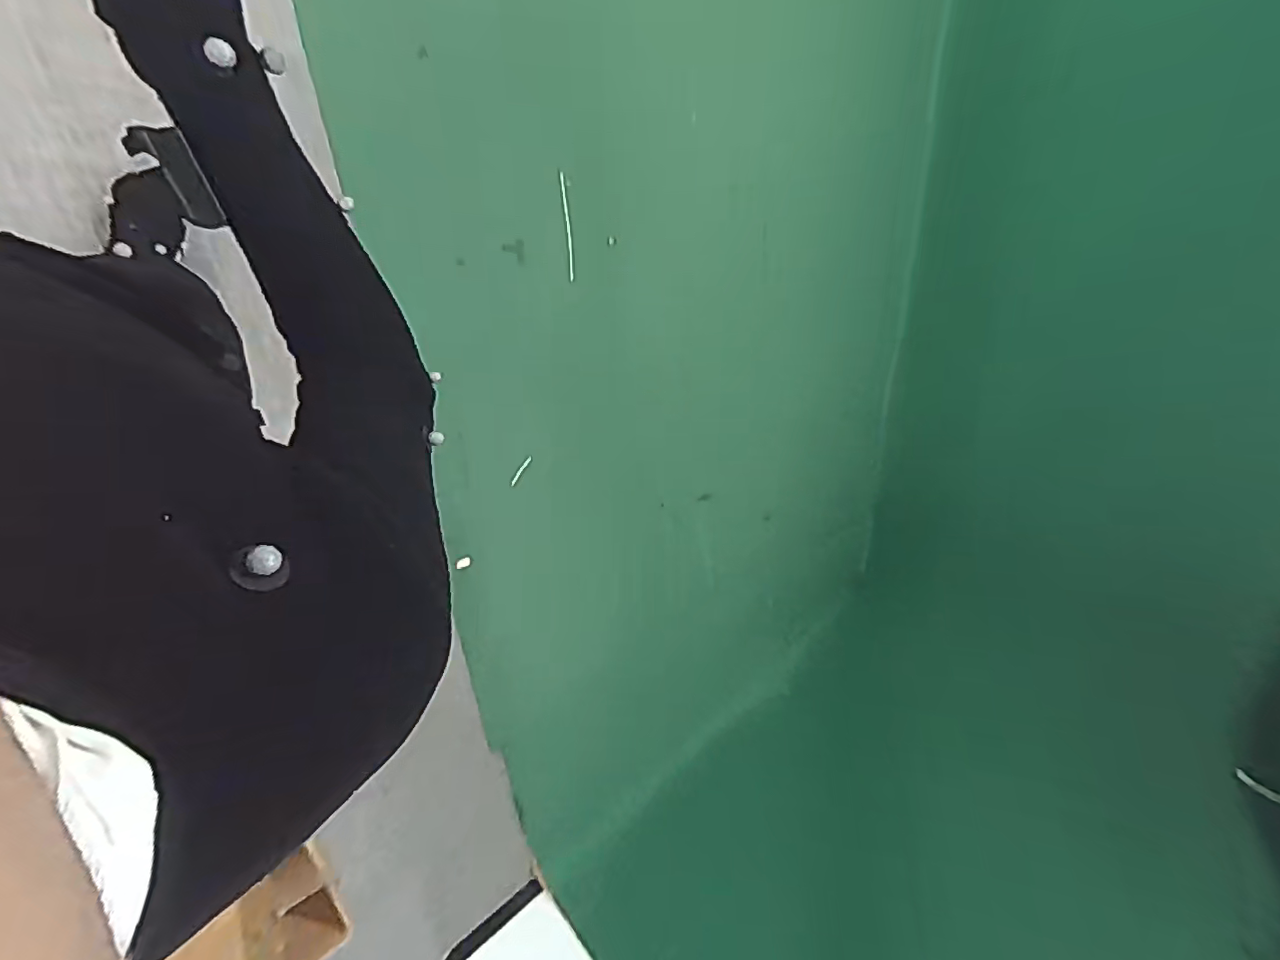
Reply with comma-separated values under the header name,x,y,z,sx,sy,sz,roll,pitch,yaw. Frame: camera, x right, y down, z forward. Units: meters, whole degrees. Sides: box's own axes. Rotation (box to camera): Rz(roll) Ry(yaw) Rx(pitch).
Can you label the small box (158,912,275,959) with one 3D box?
name,x,y,z,sx,sy,sz,roll,pitch,yaw
small box,-0.647,0.800,0.794,0.179,0.176,0.168,-27,125,-31
